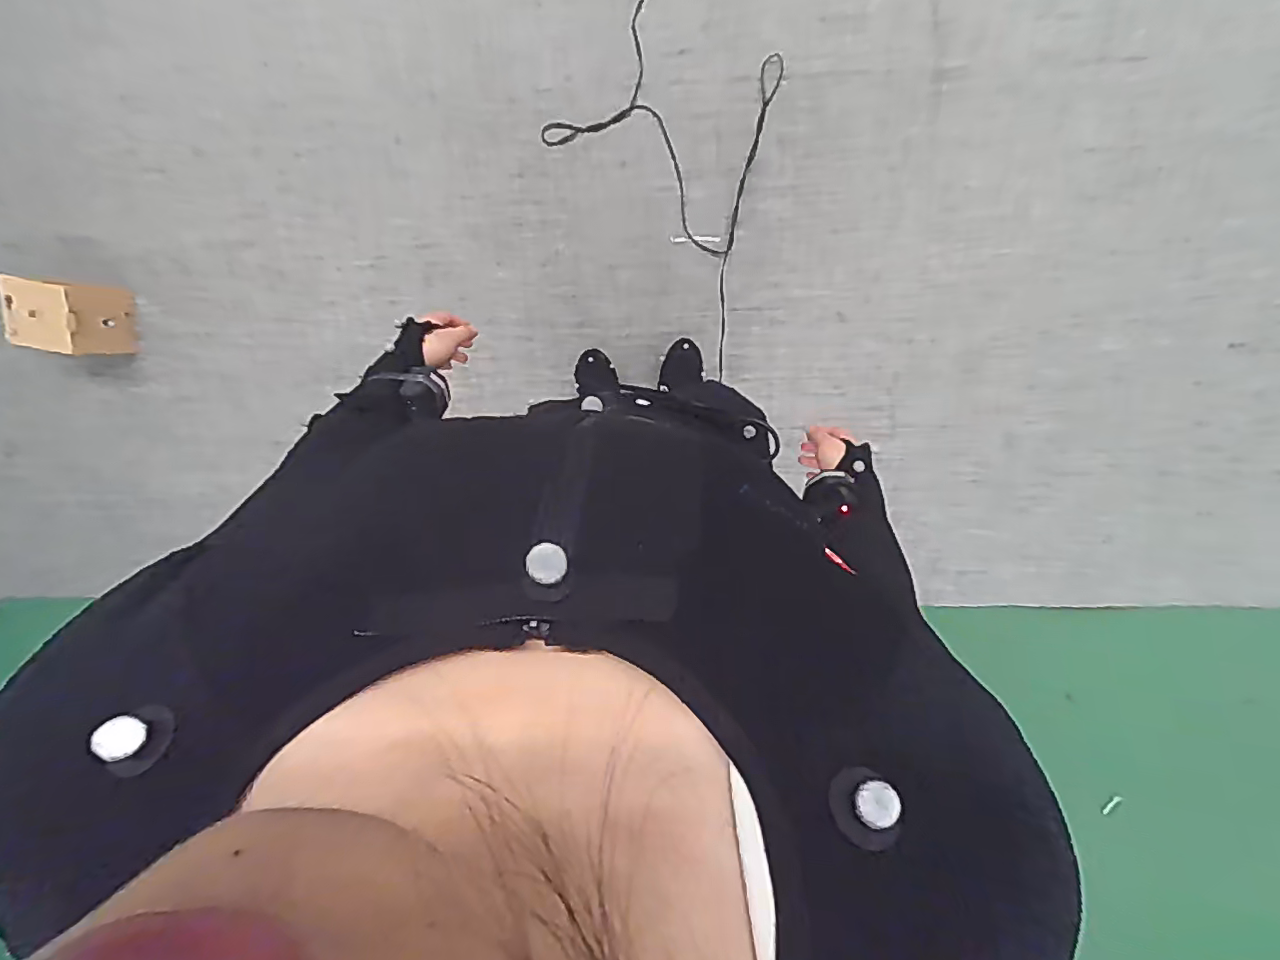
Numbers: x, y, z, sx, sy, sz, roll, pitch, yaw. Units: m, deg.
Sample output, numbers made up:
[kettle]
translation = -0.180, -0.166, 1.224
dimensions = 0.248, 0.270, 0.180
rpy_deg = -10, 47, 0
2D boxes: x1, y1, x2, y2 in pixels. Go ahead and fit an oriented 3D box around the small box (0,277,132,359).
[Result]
[small box]
translation = -1.465, -0.416, 1.394
dimensions = 0.179, 0.176, 0.168
rpy_deg = 11, 106, 0
